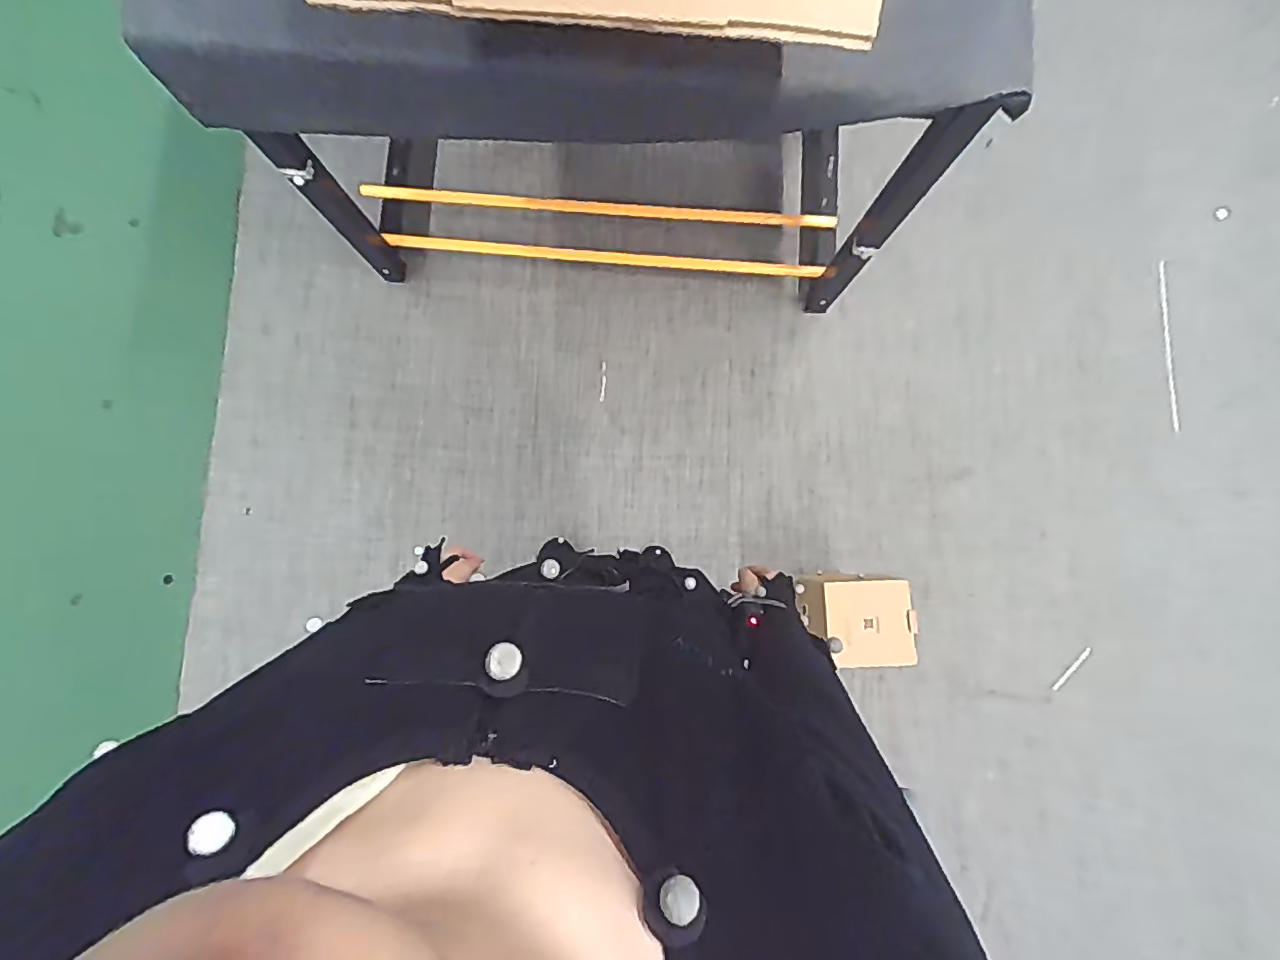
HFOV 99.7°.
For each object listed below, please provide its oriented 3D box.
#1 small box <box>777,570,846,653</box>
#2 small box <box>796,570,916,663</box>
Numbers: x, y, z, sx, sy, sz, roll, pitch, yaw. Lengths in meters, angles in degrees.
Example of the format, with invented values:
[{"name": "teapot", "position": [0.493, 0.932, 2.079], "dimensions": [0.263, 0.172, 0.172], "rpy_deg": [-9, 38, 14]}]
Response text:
[{"name": "small box", "position": [0.433, 0.305, 1.292], "dimensions": [0.168, 0.176, 0.179], "rpy_deg": [-2, 84, -2]}, {"name": "small box", "position": [0.443, 0.277, 1.130], "dimensions": [0.179, 0.176, 0.168], "rpy_deg": [-3, 83, -1]}]
